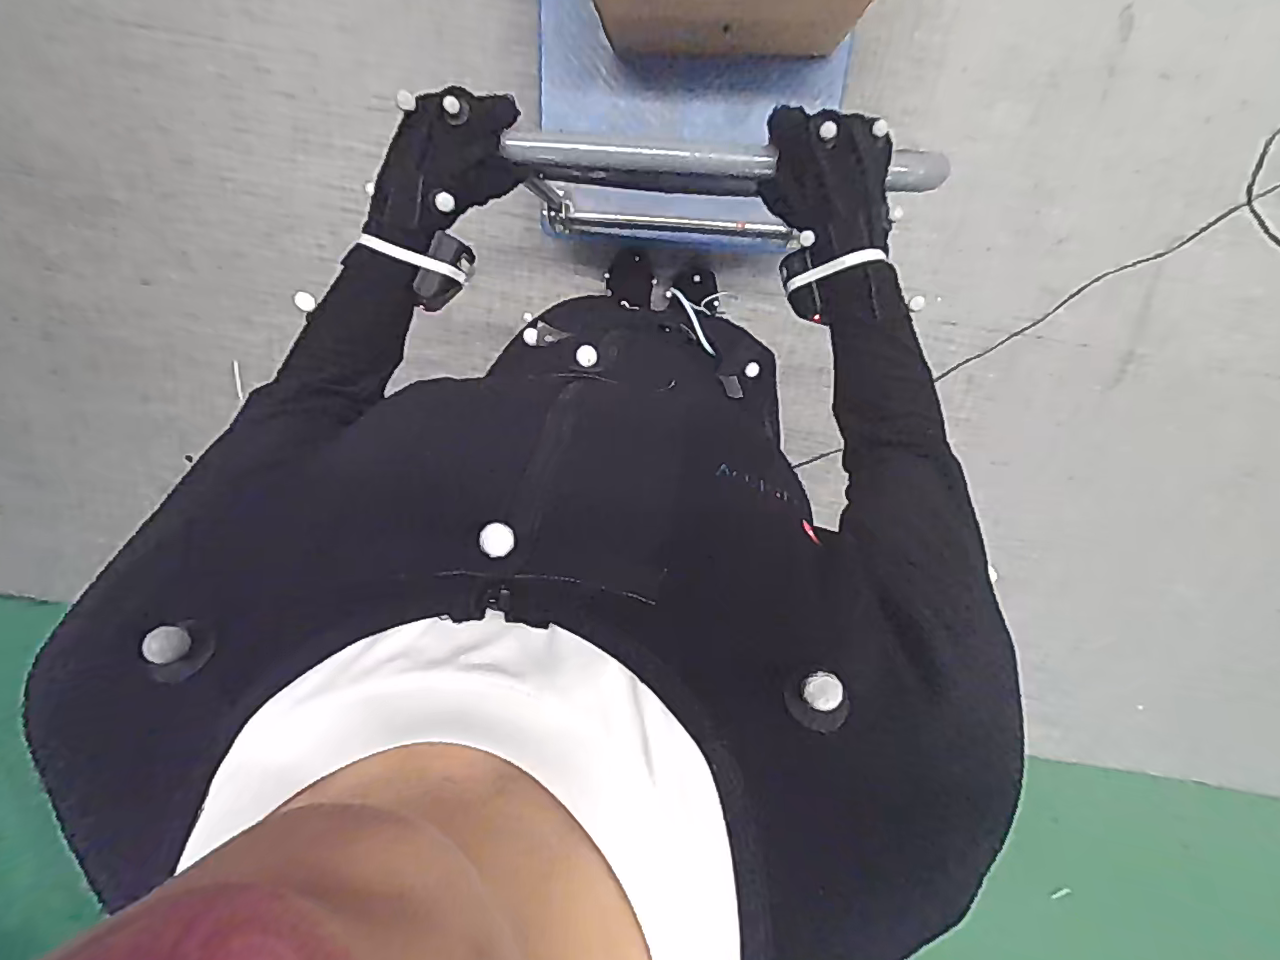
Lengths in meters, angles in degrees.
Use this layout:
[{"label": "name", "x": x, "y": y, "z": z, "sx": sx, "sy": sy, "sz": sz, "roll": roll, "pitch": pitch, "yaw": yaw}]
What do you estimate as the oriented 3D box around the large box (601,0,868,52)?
[{"label": "large box", "x": 0.150, "y": -0.878, "z": 0.810, "sx": 0.408, "sy": 0.320, "sz": 0.320, "roll": 3, "pitch": 113, "yaw": 5}]
